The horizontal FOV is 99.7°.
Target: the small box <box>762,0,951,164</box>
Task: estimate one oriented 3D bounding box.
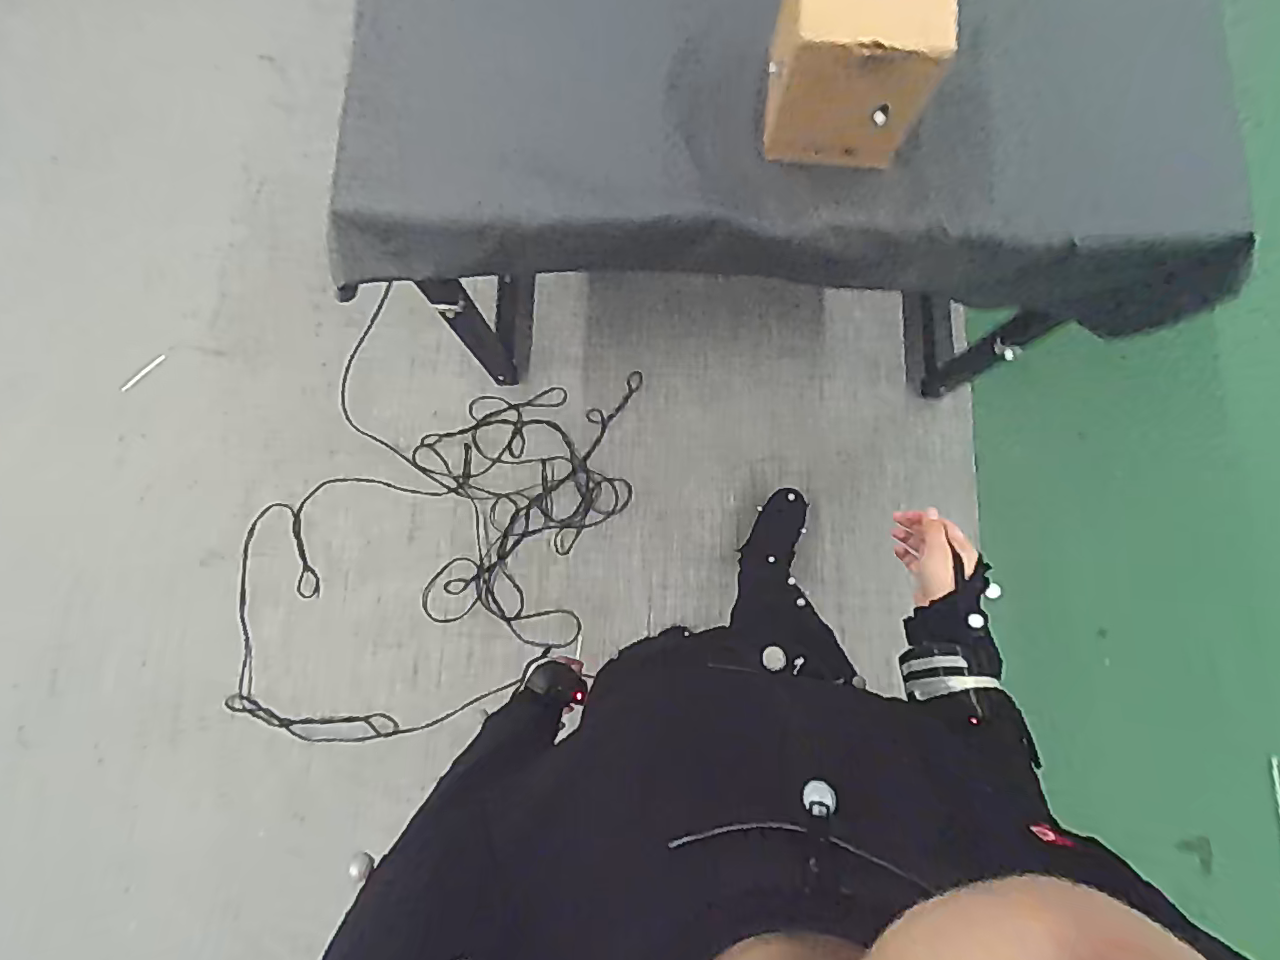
[{"bbox_3d":[0.248,-0.519,0.653,0.168,0.176,0.179,5,79,0],"label":"small box"}]
